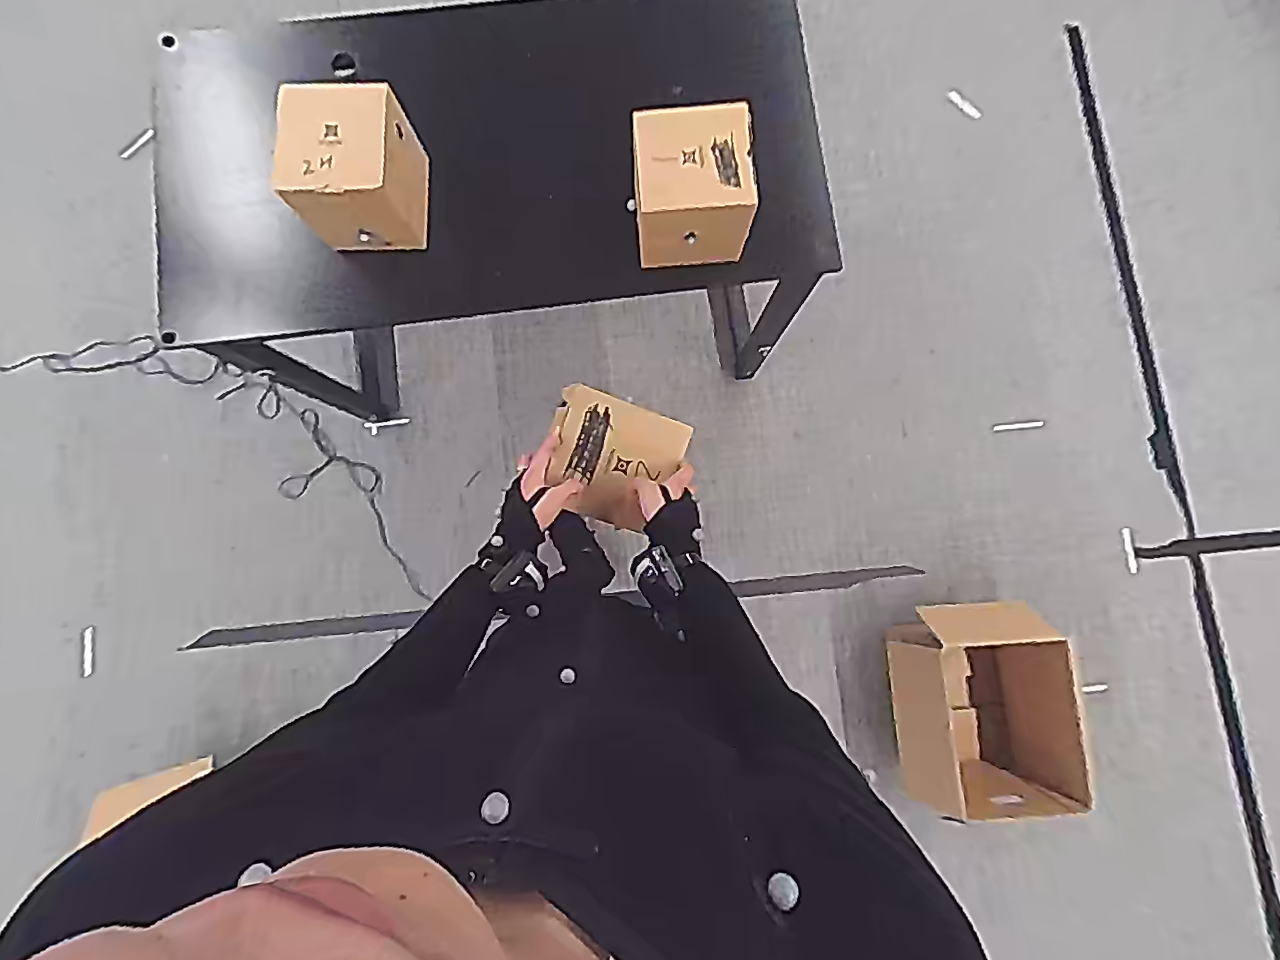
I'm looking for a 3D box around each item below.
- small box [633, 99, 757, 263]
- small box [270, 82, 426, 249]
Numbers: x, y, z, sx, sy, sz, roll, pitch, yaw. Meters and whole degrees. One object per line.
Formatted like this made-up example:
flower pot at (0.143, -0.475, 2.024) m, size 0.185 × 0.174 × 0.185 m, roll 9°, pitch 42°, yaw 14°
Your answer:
small box at (0.081, -0.474, 0.879) m, size 0.179 × 0.176 × 0.168 m, roll -5°, pitch 84°, yaw 1°
small box at (-0.462, -0.503, 0.882) m, size 0.168 × 0.176 × 0.179 m, roll -1°, pitch 84°, yaw 0°
